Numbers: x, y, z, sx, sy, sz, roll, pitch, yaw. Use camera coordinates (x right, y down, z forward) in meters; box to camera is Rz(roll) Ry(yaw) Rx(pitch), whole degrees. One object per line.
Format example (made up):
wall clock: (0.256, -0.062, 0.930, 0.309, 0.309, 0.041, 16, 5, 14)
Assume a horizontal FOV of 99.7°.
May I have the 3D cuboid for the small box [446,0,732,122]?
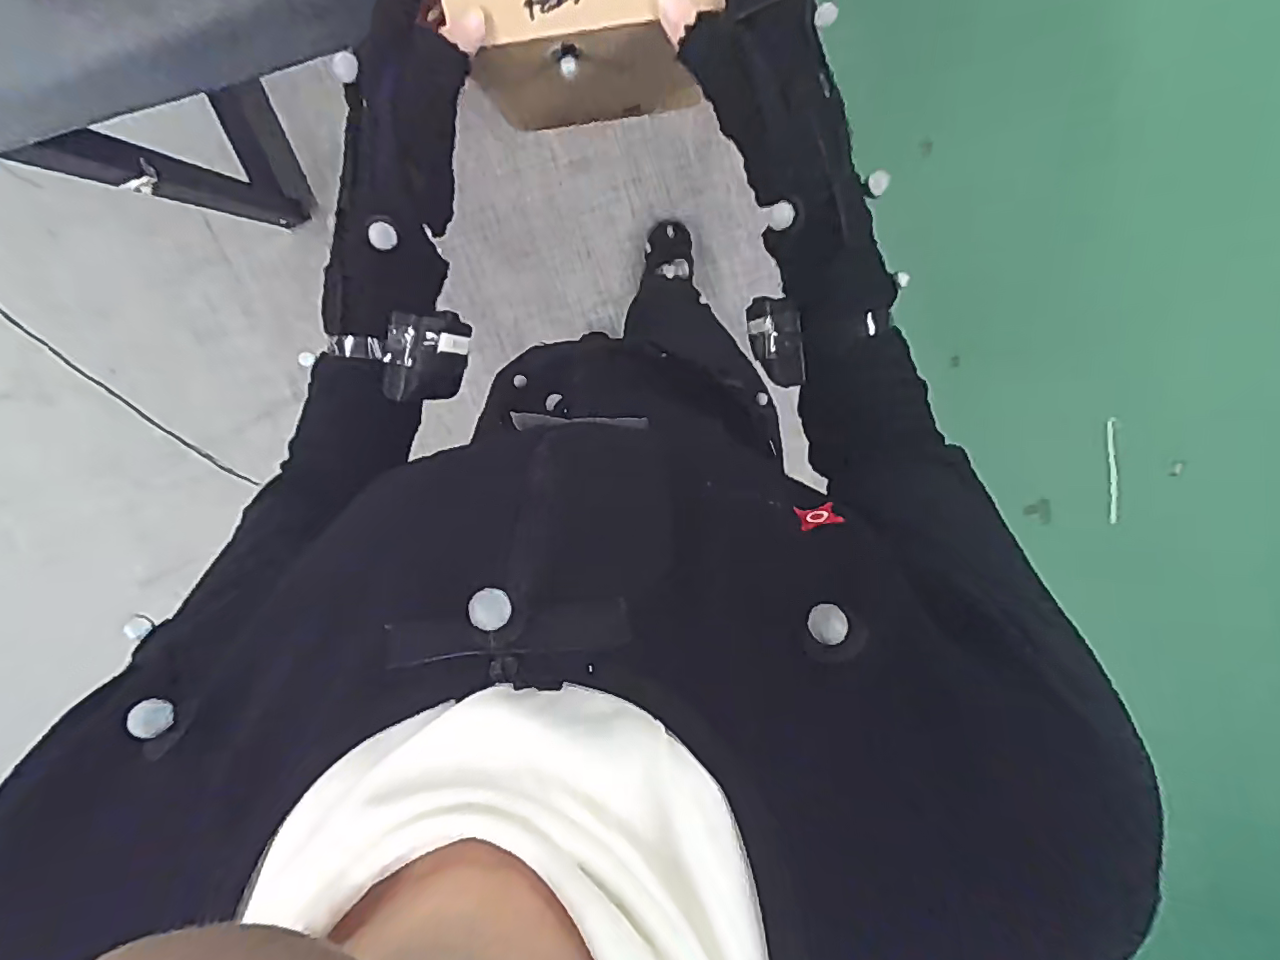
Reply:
small box: (-0.037, -0.370, 0.355, 0.168, 0.176, 0.179, -7, 109, 3)
